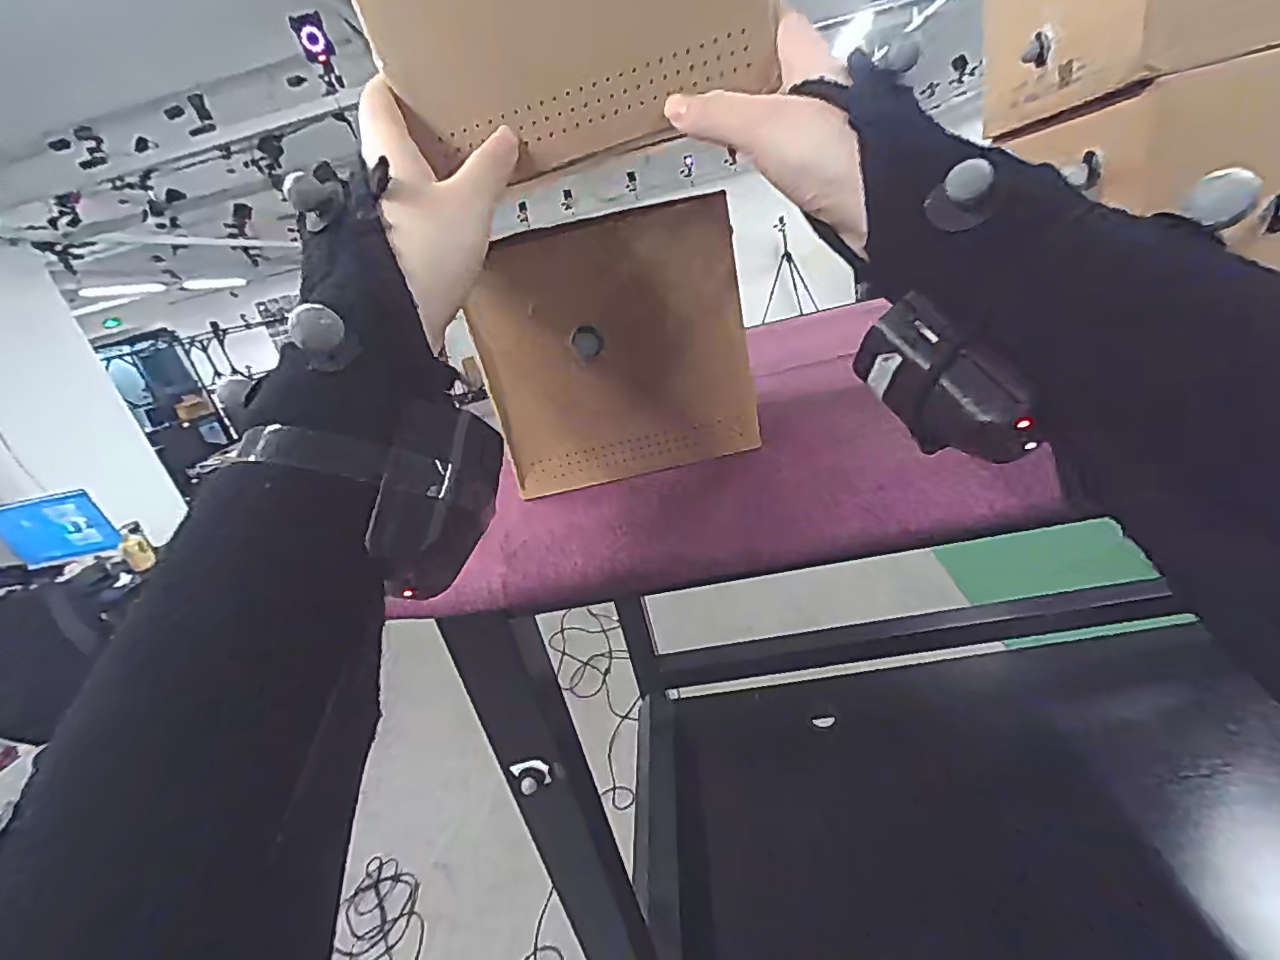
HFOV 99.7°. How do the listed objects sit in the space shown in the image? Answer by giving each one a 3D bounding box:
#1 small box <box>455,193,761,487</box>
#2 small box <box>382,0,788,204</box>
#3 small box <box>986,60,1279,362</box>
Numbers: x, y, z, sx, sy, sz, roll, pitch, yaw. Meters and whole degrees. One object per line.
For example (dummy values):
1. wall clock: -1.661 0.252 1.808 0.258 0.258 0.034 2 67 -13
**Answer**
1. small box: -0.017 -0.109 0.432 0.179 0.176 0.168 -13 23 2
2. small box: -0.036 -0.263 0.294 0.179 0.176 0.168 -15 29 5
3. small box: 0.391 -0.193 0.406 0.168 0.176 0.179 -10 21 7
